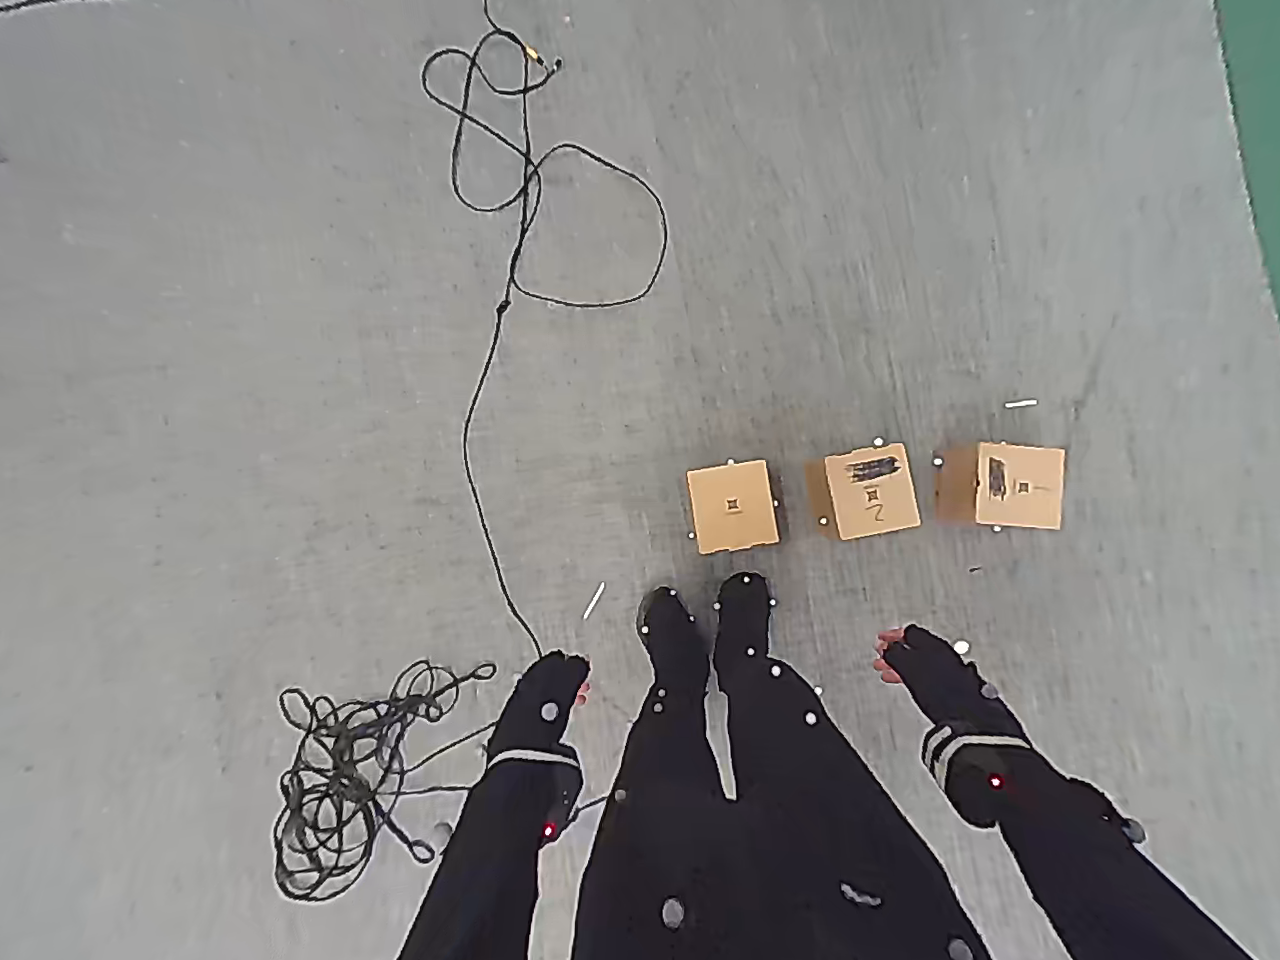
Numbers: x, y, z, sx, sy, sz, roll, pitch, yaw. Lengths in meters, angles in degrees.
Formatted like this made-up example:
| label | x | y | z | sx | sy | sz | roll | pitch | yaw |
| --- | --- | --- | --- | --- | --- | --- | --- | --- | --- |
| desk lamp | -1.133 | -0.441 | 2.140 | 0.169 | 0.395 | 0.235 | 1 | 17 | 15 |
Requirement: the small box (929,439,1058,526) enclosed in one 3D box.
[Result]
| label | x | y | z | sx | sy | sz | roll | pitch | yaw |
| --- | --- | --- | --- | --- | --- | --- | --- | --- | --- |
| small box | 0.758 | 0.008 | 1.175 | 0.179 | 0.176 | 0.168 | 5 | 88 | 1 |

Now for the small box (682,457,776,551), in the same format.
| label | x | y | z | sx | sy | sz | roll | pitch | yaw |
| --- | --- | --- | --- | --- | --- | --- | --- | --- | --- |
| small box | 0.189 | 0.053 | 1.193 | 0.168 | 0.176 | 0.179 | -10 | 88 | 1 |
